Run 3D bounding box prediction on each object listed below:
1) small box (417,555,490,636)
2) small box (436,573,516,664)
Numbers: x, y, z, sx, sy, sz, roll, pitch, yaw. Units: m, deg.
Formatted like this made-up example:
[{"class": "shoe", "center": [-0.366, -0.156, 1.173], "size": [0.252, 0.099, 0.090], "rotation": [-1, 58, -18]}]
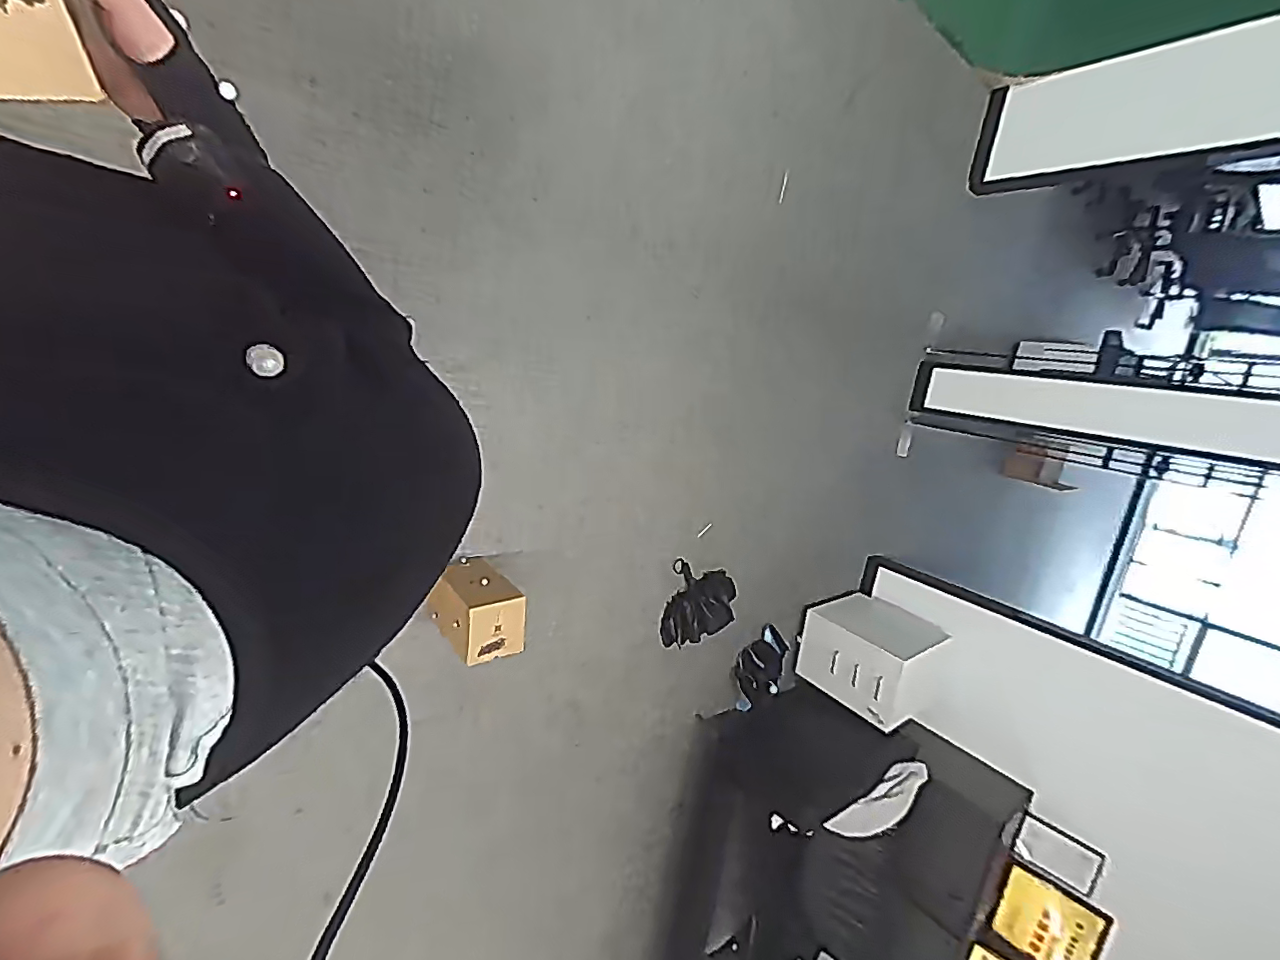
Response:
[{"class": "small box", "center": [-0.576, 0.349, 1.663], "size": [0.168, 0.176, 0.179], "rotation": [-6, 108, -40]}, {"class": "small box", "center": [-0.471, 0.386, 1.541], "size": [0.168, 0.176, 0.179], "rotation": [-6, 109, -39]}]
